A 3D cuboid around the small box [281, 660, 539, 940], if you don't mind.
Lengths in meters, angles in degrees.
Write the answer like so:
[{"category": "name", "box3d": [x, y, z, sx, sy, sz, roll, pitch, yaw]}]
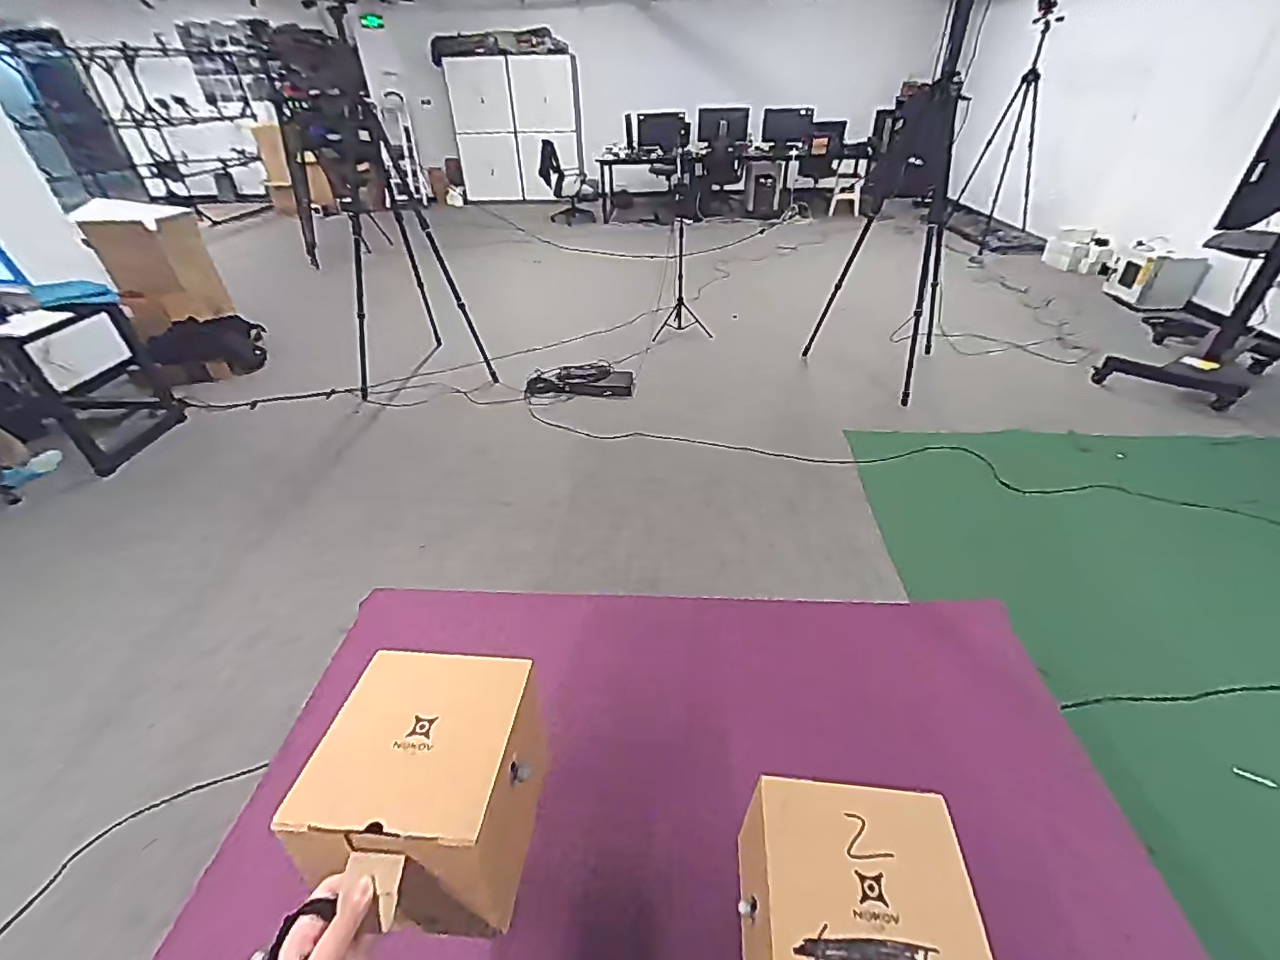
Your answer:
[{"category": "small box", "box3d": [-0.201, 0.307, 0.535, 0.168, 0.176, 0.179, 2, 31, 3]}]
